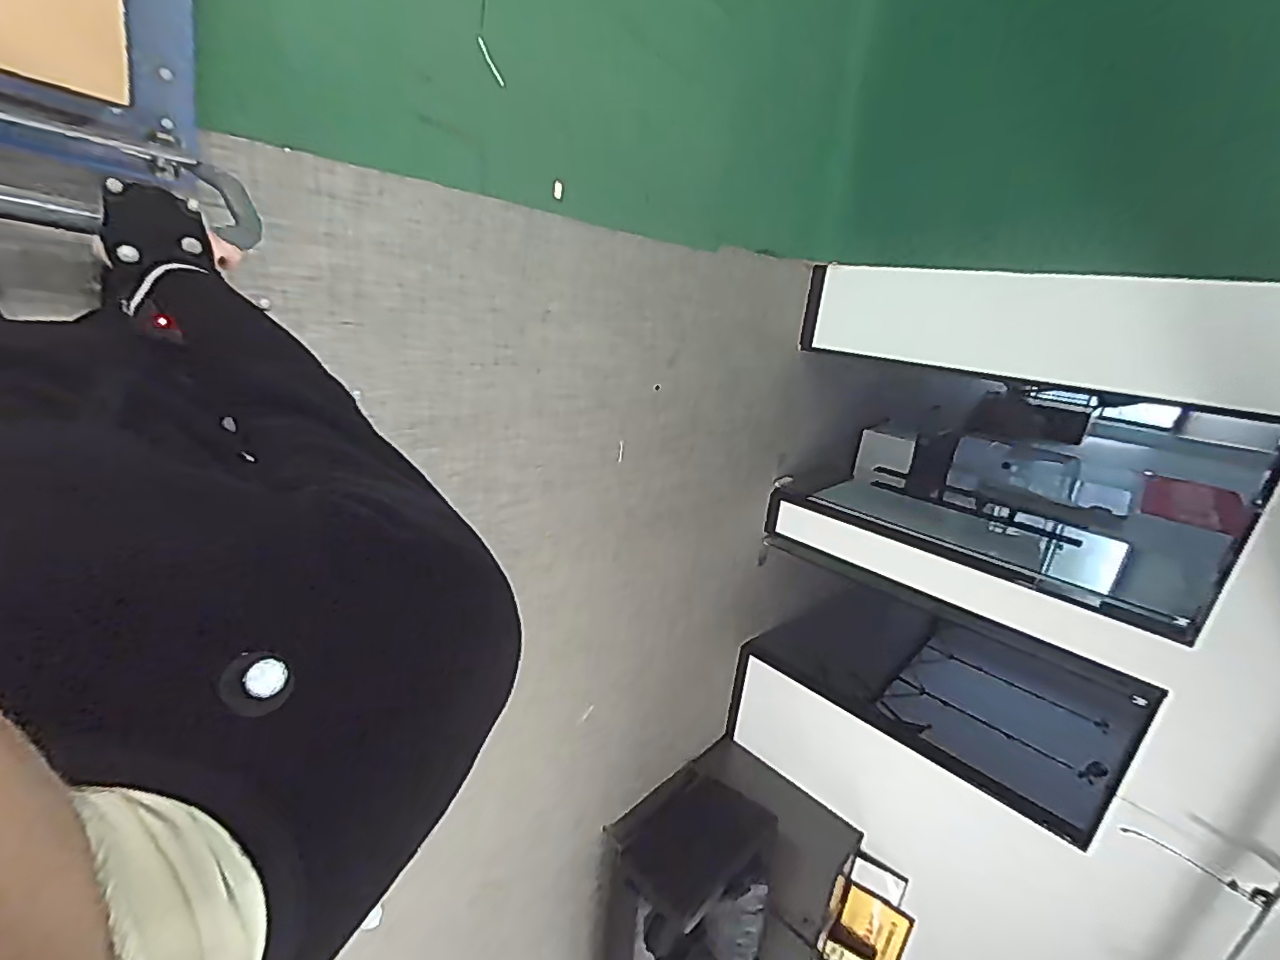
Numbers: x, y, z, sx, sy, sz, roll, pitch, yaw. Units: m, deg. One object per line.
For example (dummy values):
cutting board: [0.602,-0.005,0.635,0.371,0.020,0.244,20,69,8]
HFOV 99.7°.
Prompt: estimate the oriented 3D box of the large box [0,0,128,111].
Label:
large box: [-0.895,-0.755,0.687,0.320,0.320,0.408,-7,118,-46]
